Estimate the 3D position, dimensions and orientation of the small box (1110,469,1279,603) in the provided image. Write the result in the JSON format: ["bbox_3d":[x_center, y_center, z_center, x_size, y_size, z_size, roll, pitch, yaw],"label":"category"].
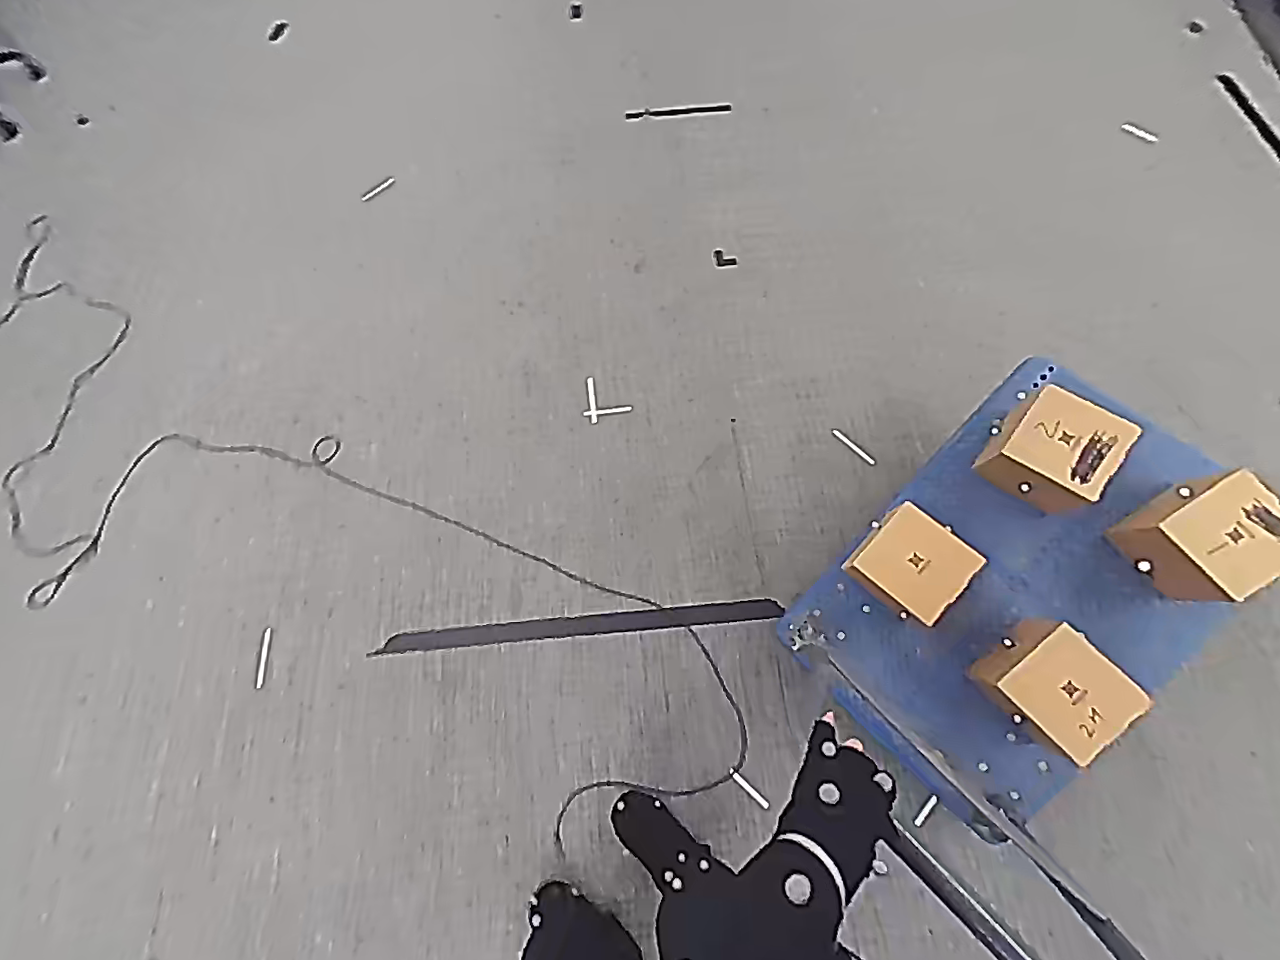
[{"bbox_3d":[1.036,0.106,0.992,0.179,0.176,0.168,-37,73,5],"label":"small box"}]

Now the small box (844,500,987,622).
[{"bbox_3d":[0.540,0.167,1.094,0.179,0.176,0.168,41,90,16],"label":"small box"}]

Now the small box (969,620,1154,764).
[{"bbox_3d":[0.758,0.378,0.999,0.168,0.176,0.179,-43,73,2],"label":"small box"}]
